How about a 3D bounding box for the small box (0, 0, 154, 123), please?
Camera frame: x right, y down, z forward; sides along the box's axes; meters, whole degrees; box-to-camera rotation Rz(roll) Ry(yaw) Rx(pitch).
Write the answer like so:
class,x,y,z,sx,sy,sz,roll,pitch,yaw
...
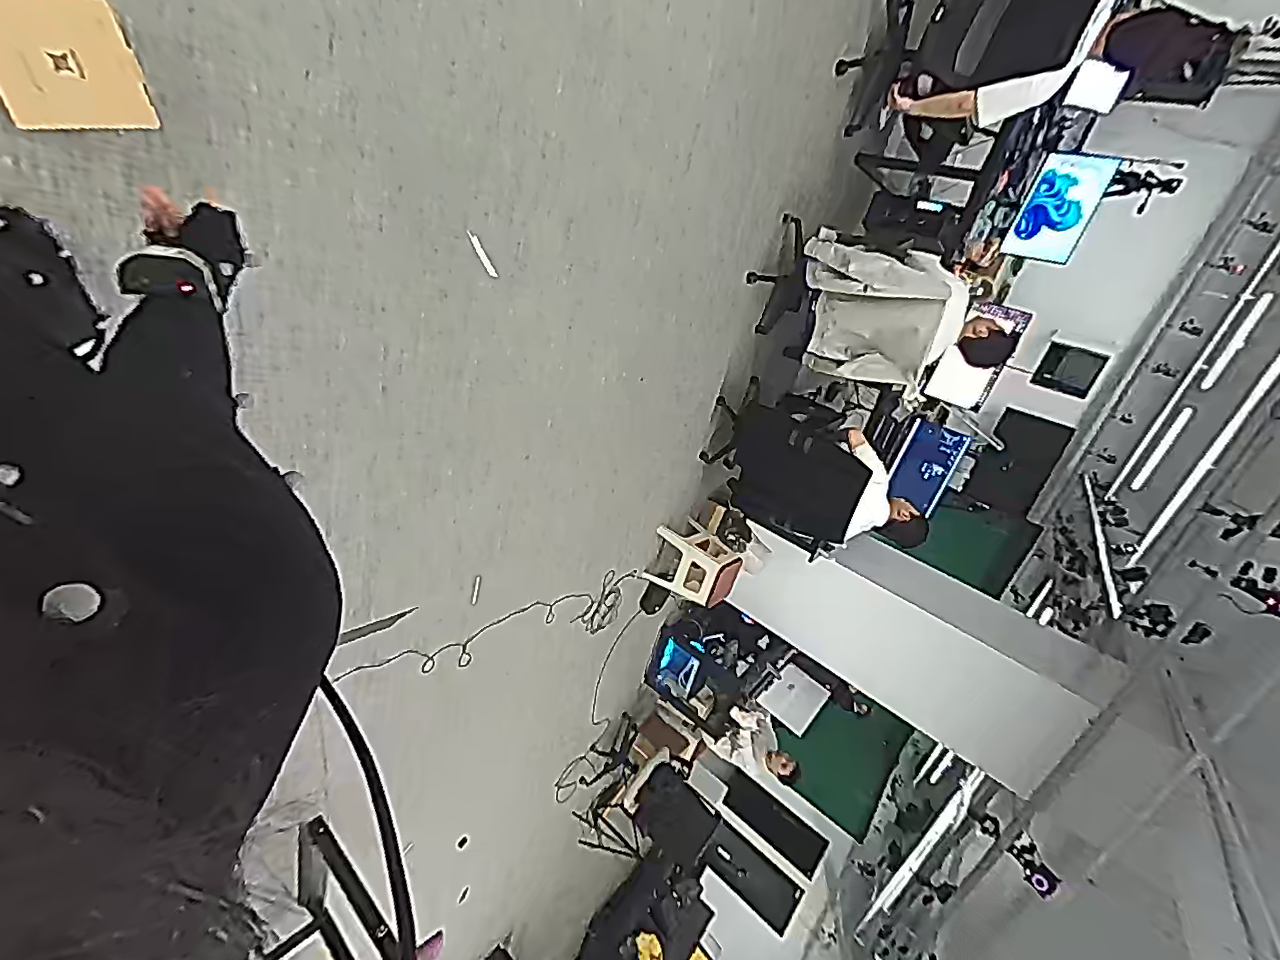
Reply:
class,x,y,z,sx,sy,sz,roll,pitch,yaw
small box,-0.901,-0.648,0.818,0.179,0.176,0.168,-32,140,-38
